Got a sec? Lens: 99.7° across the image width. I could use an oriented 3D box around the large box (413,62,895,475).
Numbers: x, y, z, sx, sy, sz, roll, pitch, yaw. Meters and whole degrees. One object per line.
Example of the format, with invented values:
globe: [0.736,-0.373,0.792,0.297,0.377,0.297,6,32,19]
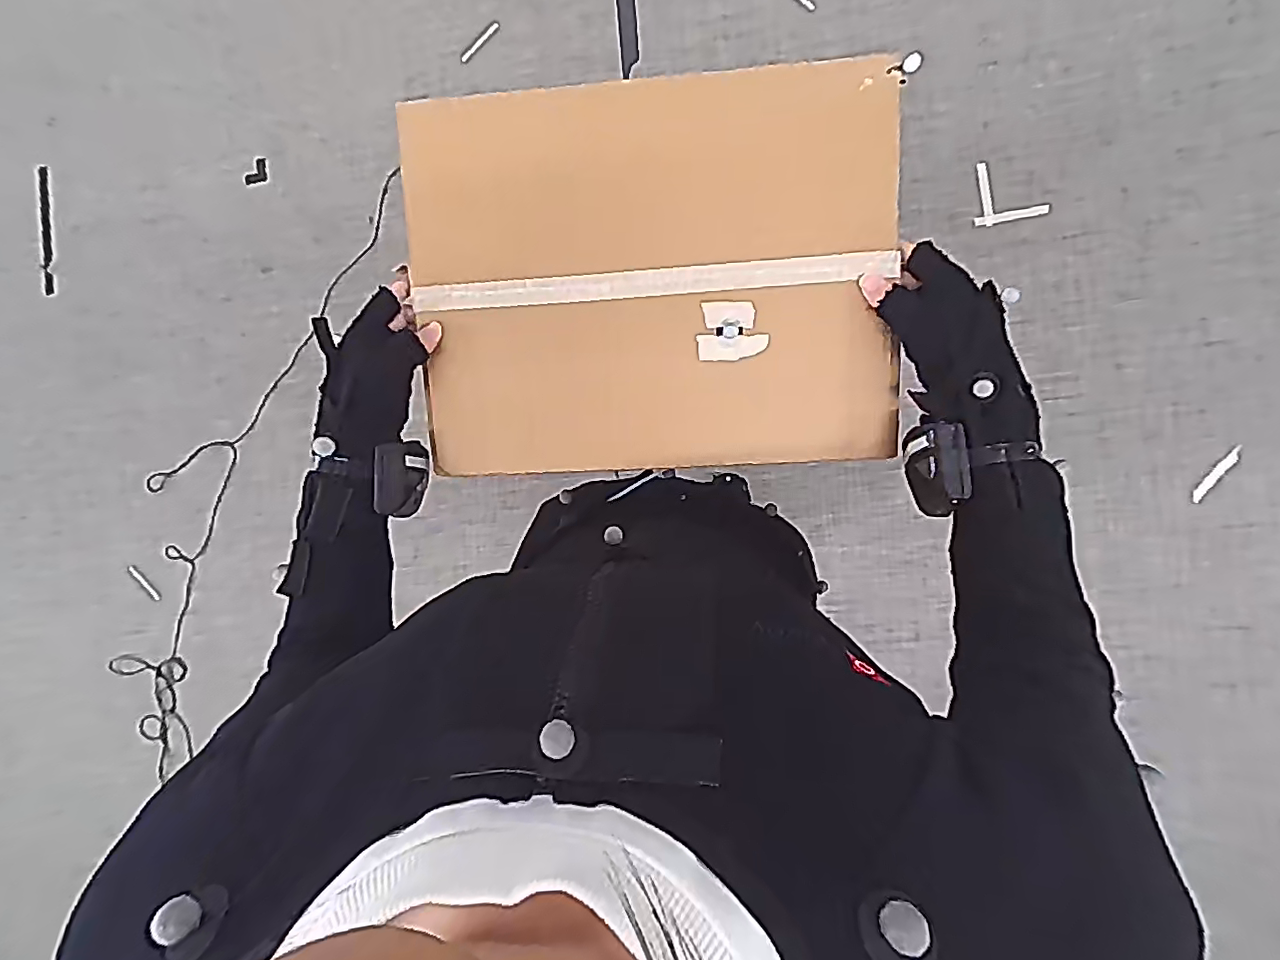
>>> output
large box: [0.021,-0.188,0.611,0.408,0.320,0.320,-3,98,4]
